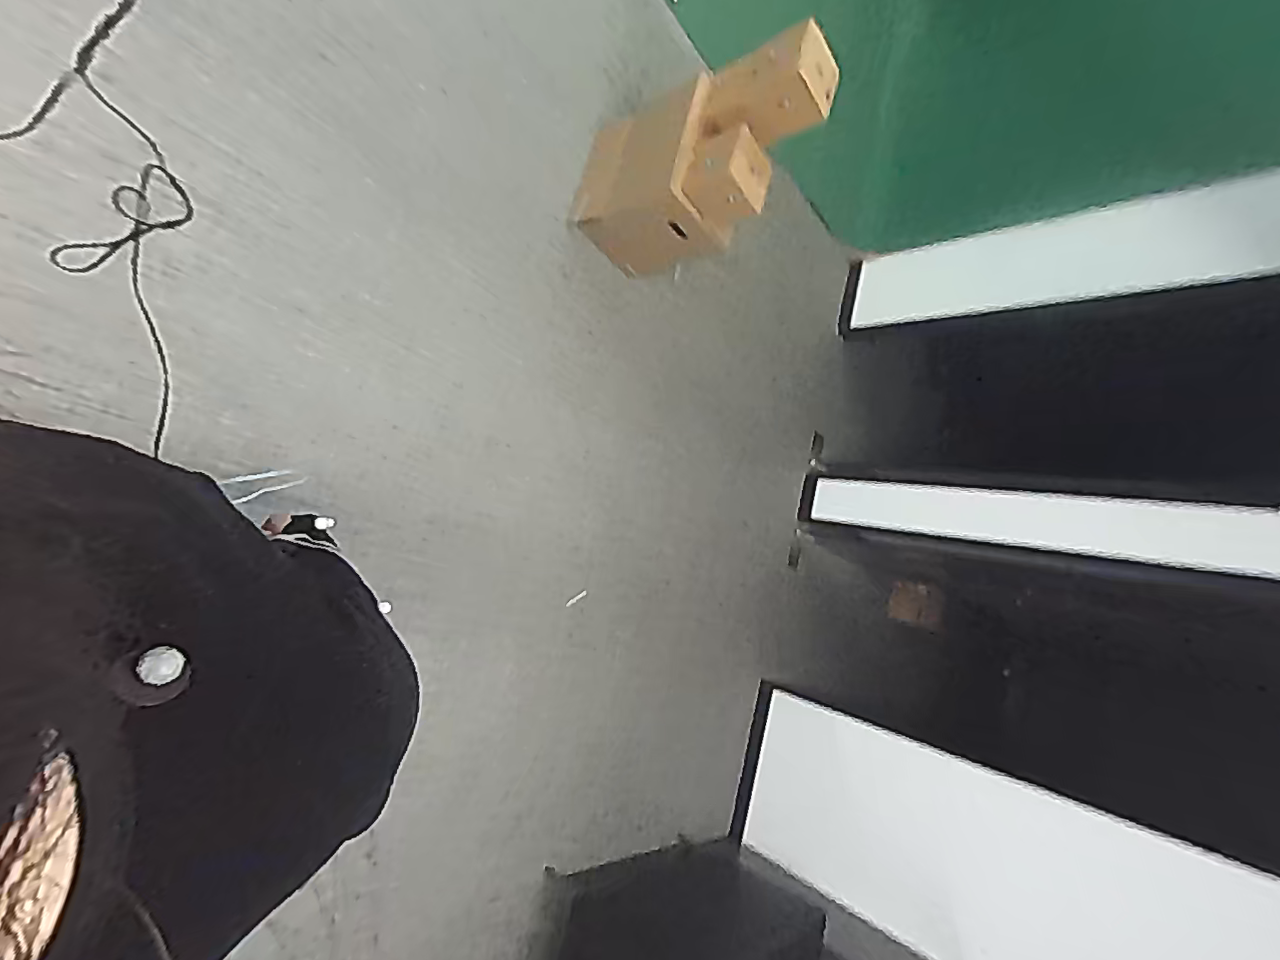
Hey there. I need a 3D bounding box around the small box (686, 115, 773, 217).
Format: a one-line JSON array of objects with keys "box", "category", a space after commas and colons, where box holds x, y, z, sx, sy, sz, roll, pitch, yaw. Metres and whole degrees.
[{"box": [0.260, -0.903, 1.577, 0.179, 0.176, 0.168, 28, 73, -44], "category": "small box"}]

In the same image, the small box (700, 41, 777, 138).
[{"box": [0.309, -1.132, 1.608, 0.179, 0.176, 0.168, 24, 79, -42], "category": "small box"}]

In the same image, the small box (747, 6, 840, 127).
[{"box": [0.419, -1.122, 1.487, 0.179, 0.176, 0.168, 25, 78, -41], "category": "small box"}]
